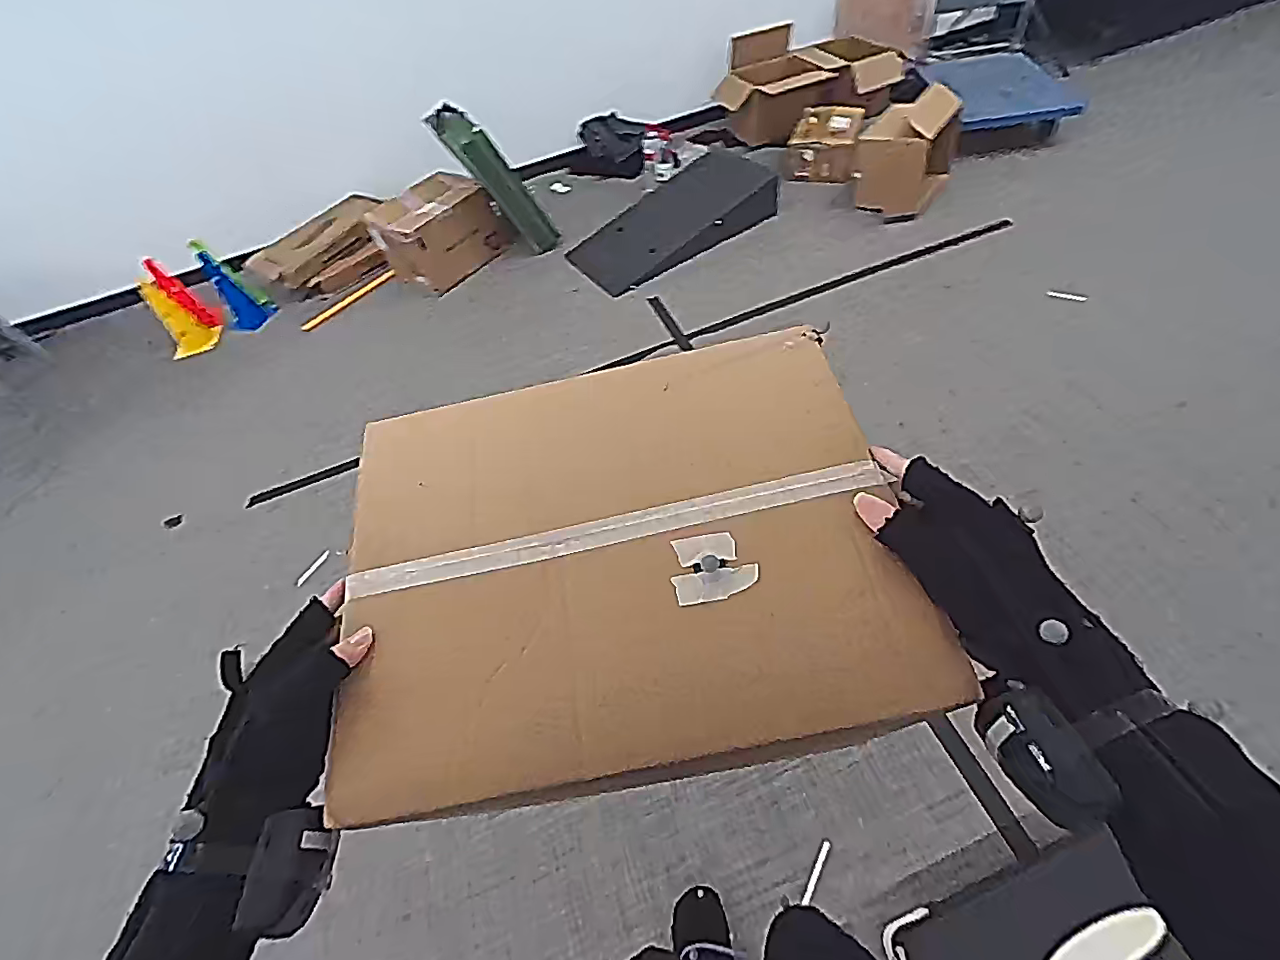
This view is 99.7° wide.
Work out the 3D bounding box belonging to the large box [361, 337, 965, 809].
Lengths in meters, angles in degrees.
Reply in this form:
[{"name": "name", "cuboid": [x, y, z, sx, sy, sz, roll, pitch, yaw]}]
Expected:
[{"name": "large box", "cuboid": [0.006, 0.114, 0.545, 0.408, 0.320, 0.320, -12, 60, 2]}]
